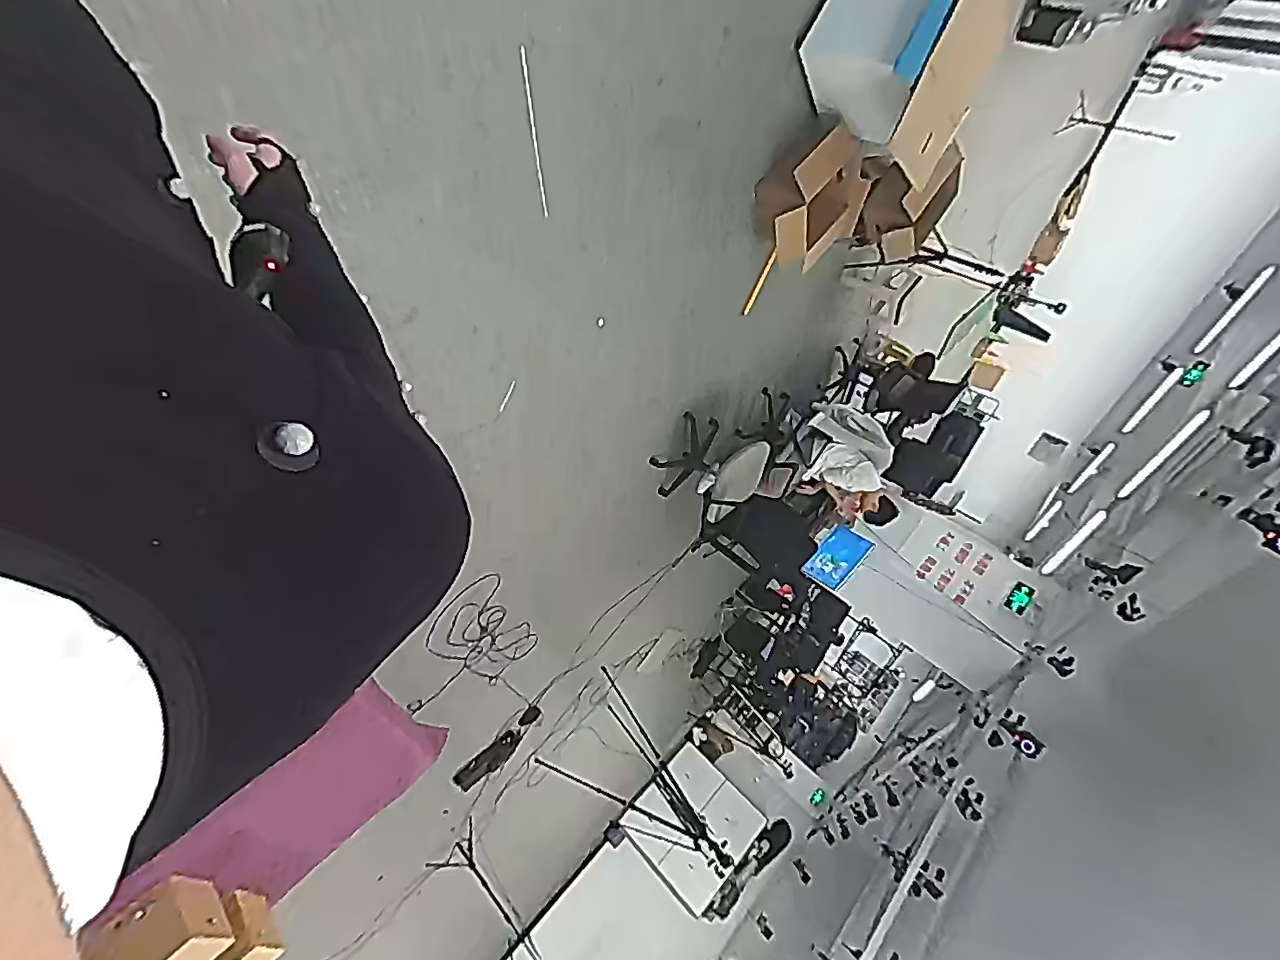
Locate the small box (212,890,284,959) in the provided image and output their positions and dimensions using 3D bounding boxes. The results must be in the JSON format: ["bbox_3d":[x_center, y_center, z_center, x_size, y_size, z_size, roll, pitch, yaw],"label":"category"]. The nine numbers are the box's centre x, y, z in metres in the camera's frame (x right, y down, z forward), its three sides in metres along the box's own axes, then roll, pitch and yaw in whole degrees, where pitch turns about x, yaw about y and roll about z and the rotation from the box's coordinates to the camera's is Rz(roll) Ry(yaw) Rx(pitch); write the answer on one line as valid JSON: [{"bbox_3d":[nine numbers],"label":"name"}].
[{"bbox_3d":[-1.089,1.227,1.424,0.168,0.176,0.179,-36,146,-29],"label":"small box"}]

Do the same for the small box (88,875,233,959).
[{"bbox_3d":[-1.079,1.039,1.223,0.168,0.176,0.179,-37,149,-29],"label":"small box"}]
